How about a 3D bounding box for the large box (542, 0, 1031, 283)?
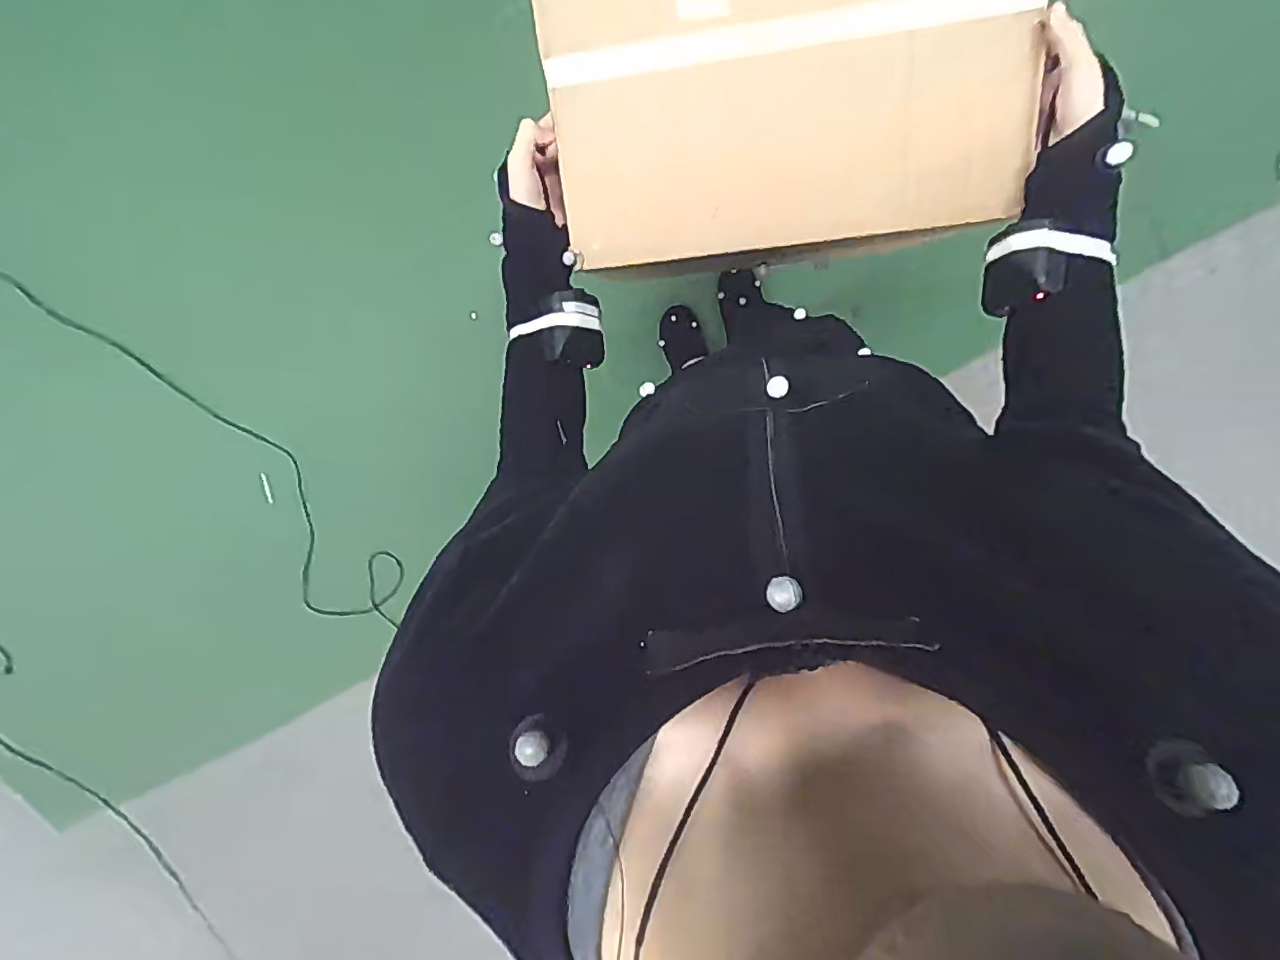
[{"bbox_3d":[0.132,-0.405,0.600,0.408,0.320,0.320,-4,106,6],"label":"large box"}]
